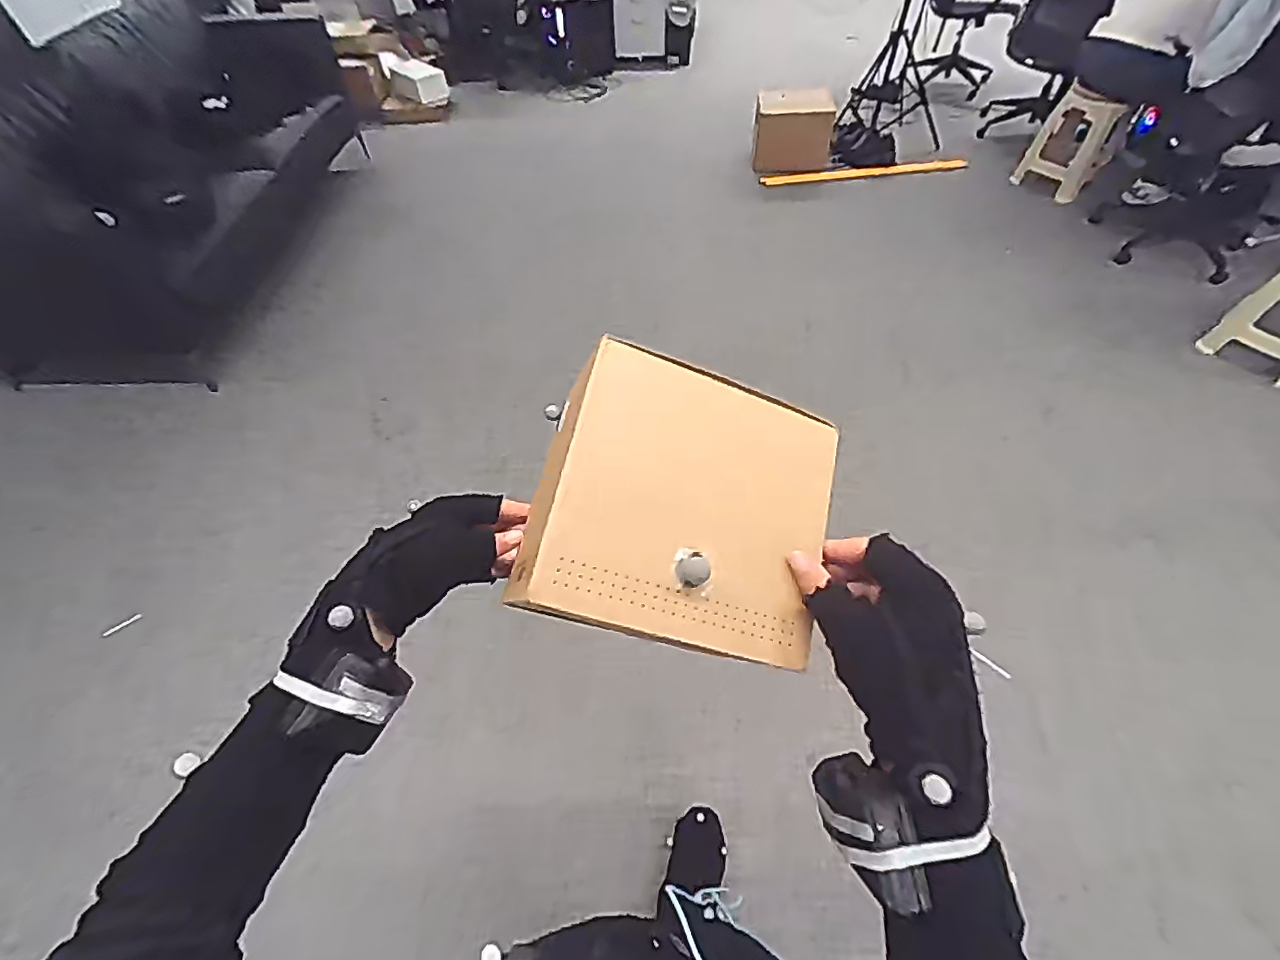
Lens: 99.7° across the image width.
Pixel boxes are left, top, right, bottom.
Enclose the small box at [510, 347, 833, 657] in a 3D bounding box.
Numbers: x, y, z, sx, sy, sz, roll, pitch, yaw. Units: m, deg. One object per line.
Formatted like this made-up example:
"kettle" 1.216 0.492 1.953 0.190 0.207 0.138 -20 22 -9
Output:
"small box" 0.015 0.034 0.411 0.179 0.168 0.176 18 71 -13
